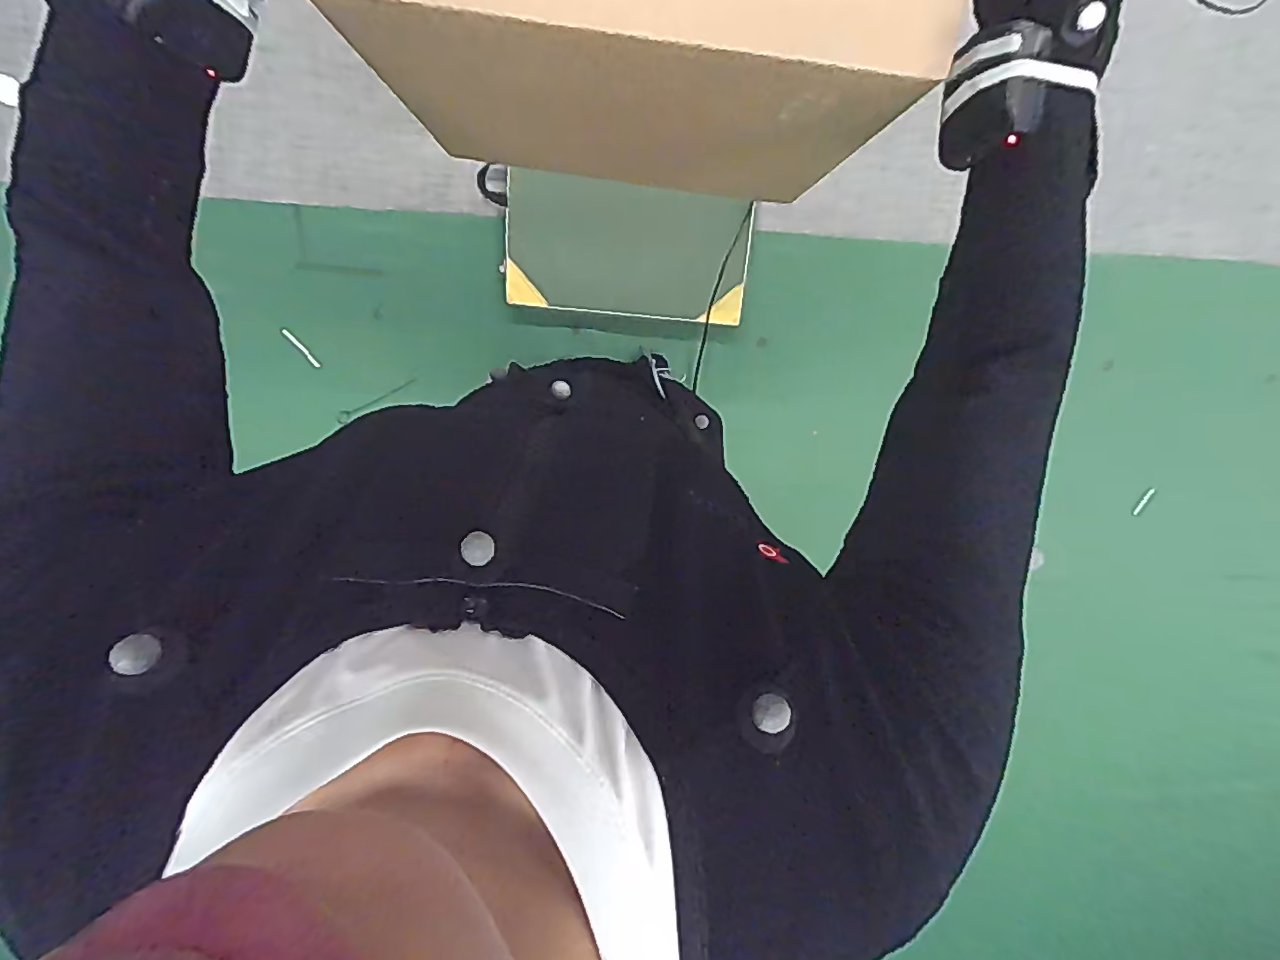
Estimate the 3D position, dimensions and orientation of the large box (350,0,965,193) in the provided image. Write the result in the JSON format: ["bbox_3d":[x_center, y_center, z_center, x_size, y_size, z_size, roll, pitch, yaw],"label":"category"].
[{"bbox_3d":[0.013,-0.465,0.450,0.408,0.320,0.320,5,105,-5],"label":"large box"}]
